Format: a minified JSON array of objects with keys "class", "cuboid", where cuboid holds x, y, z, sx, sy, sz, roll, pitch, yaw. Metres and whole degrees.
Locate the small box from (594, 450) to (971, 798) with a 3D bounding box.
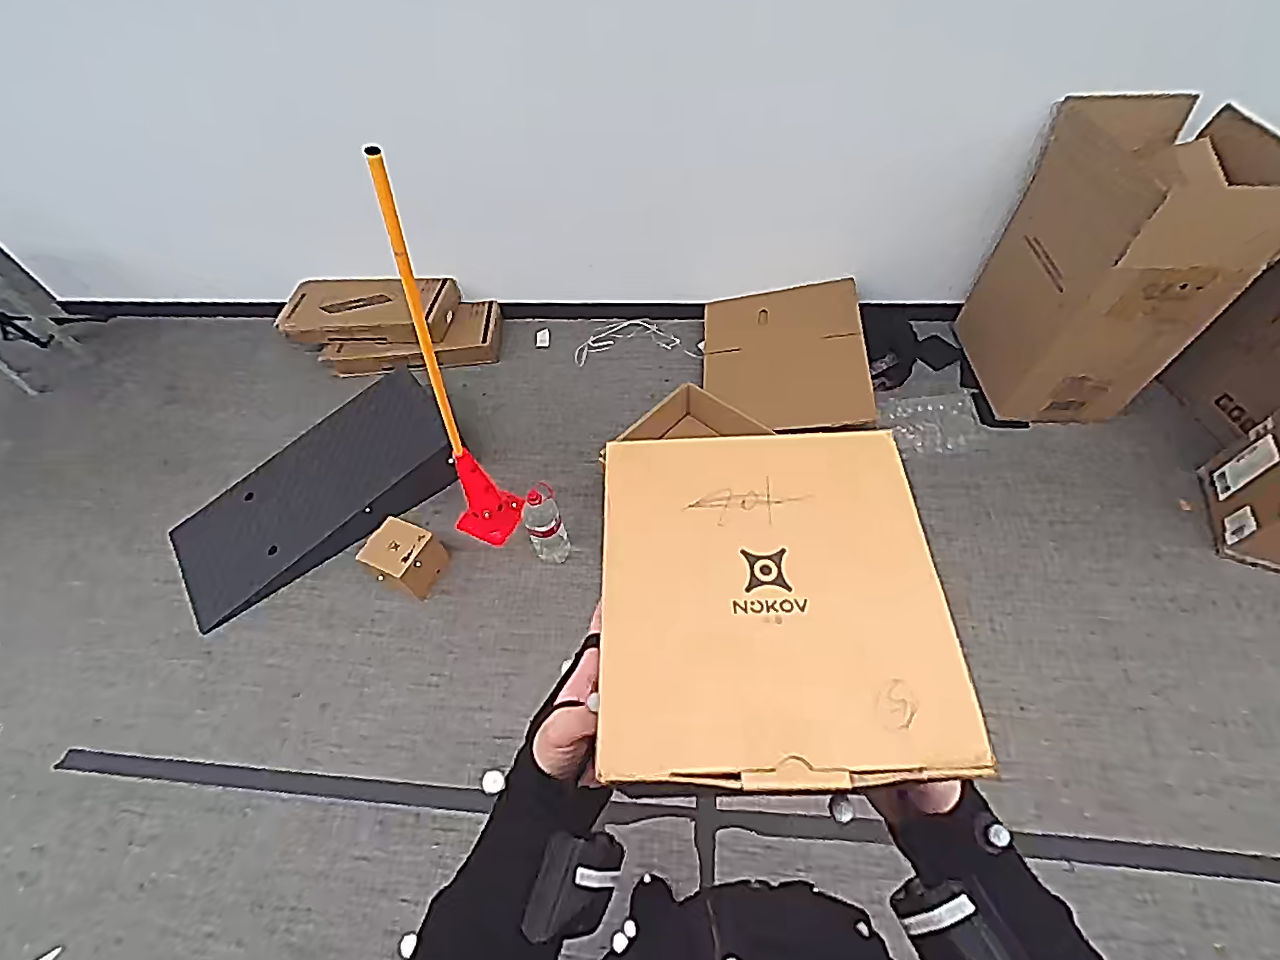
[{"class":"small box","cuboid":[0.065,0.101,0.345,0.168,0.176,0.179,-2,57,2]}]
